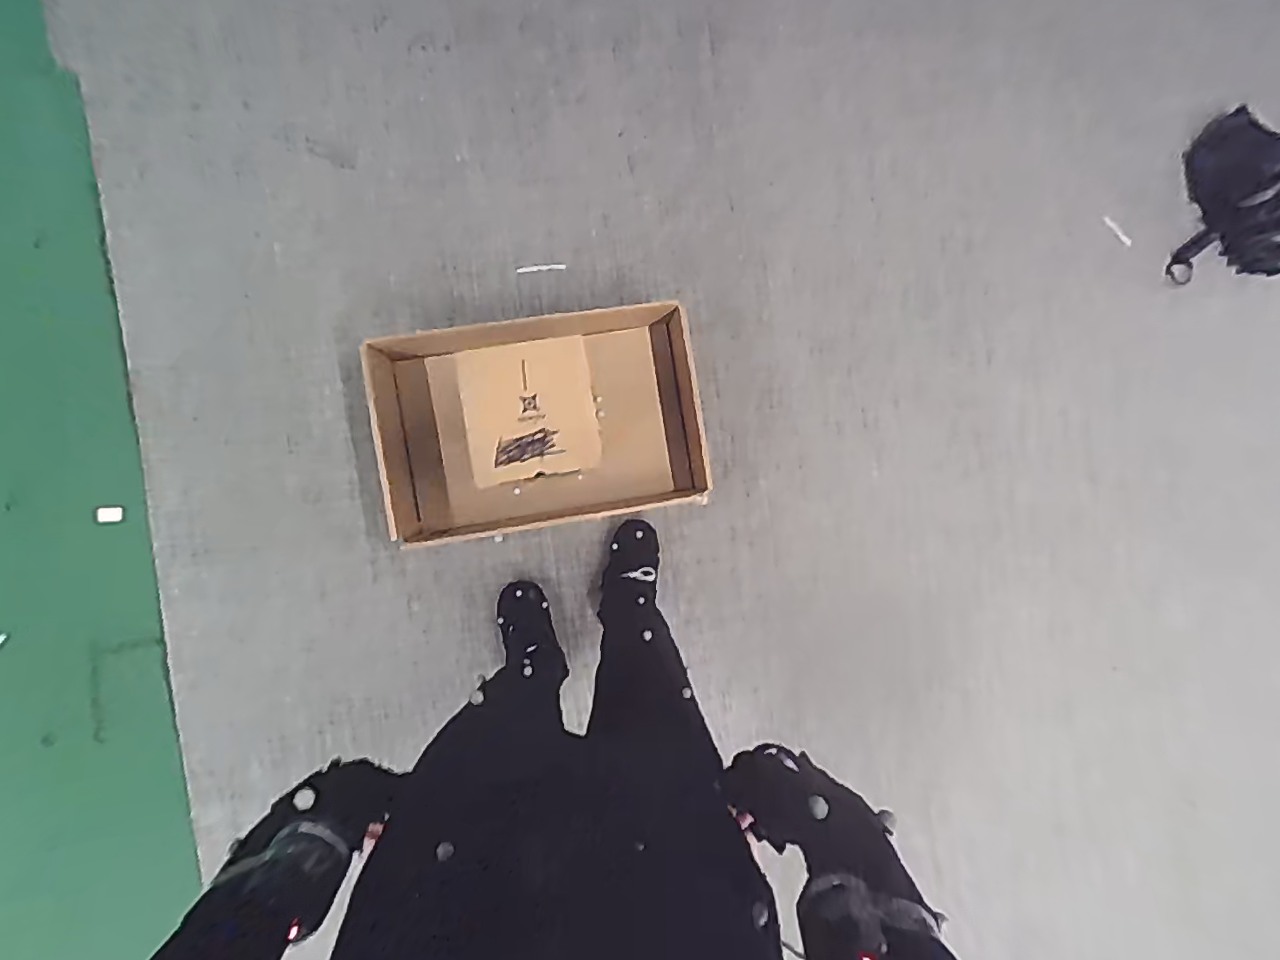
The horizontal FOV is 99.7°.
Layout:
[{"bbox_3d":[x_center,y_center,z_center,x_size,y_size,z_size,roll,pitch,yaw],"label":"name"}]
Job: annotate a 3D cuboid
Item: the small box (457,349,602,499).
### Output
[{"bbox_3d":[-0.146,-0.072,0.772,0.168,0.176,0.179,-9,89,-5],"label":"small box"}]
